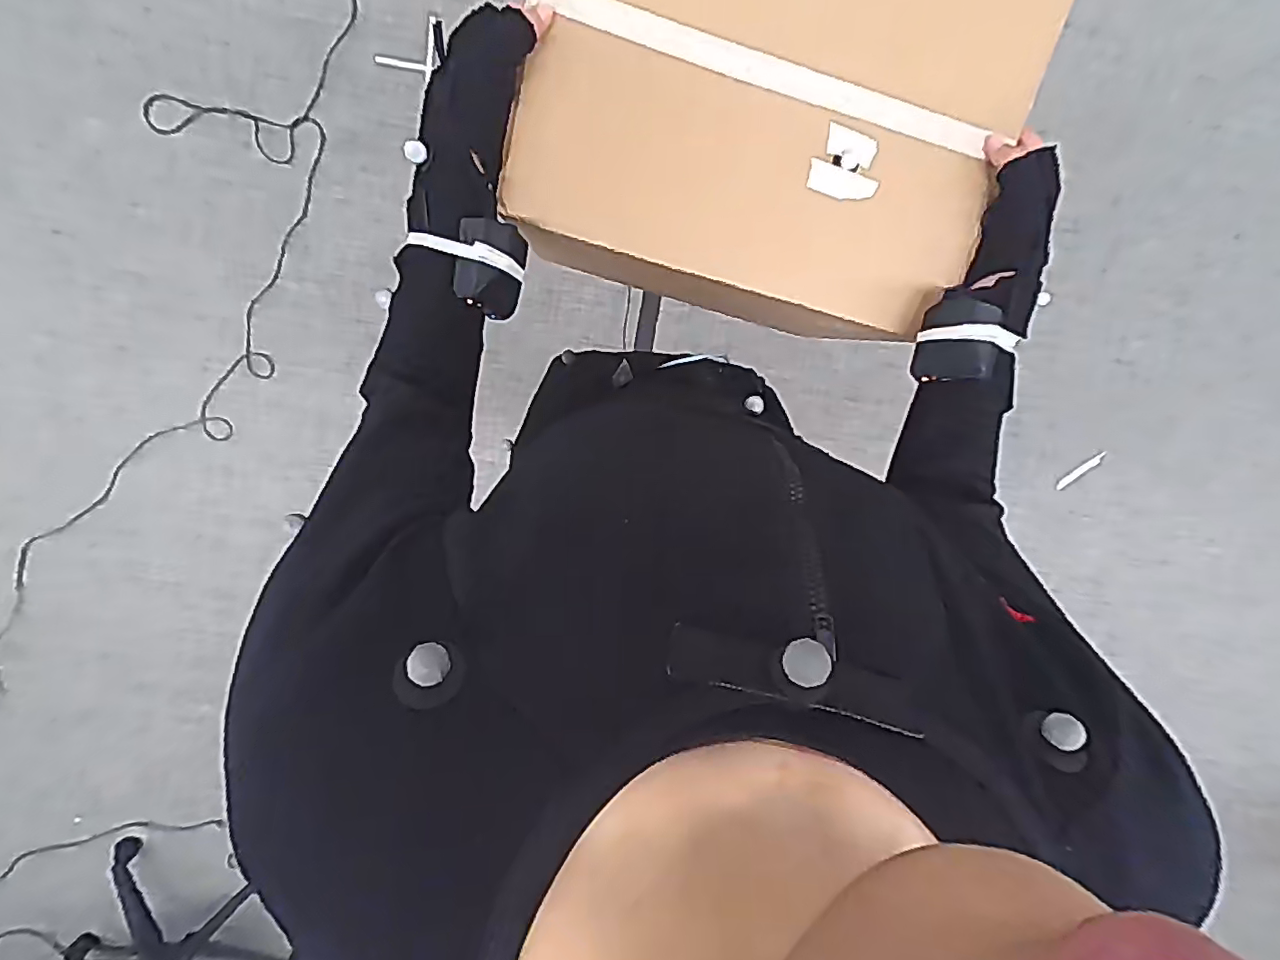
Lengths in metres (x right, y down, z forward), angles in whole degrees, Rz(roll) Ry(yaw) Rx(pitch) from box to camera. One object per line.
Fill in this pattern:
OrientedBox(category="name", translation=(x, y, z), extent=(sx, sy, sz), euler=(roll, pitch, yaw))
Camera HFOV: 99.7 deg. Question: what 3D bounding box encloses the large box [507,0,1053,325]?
OrientedBox(category="large box", translation=(0.101, -0.368, 0.577), extent=(0.408, 0.320, 0.320), euler=(13, 106, -9))
